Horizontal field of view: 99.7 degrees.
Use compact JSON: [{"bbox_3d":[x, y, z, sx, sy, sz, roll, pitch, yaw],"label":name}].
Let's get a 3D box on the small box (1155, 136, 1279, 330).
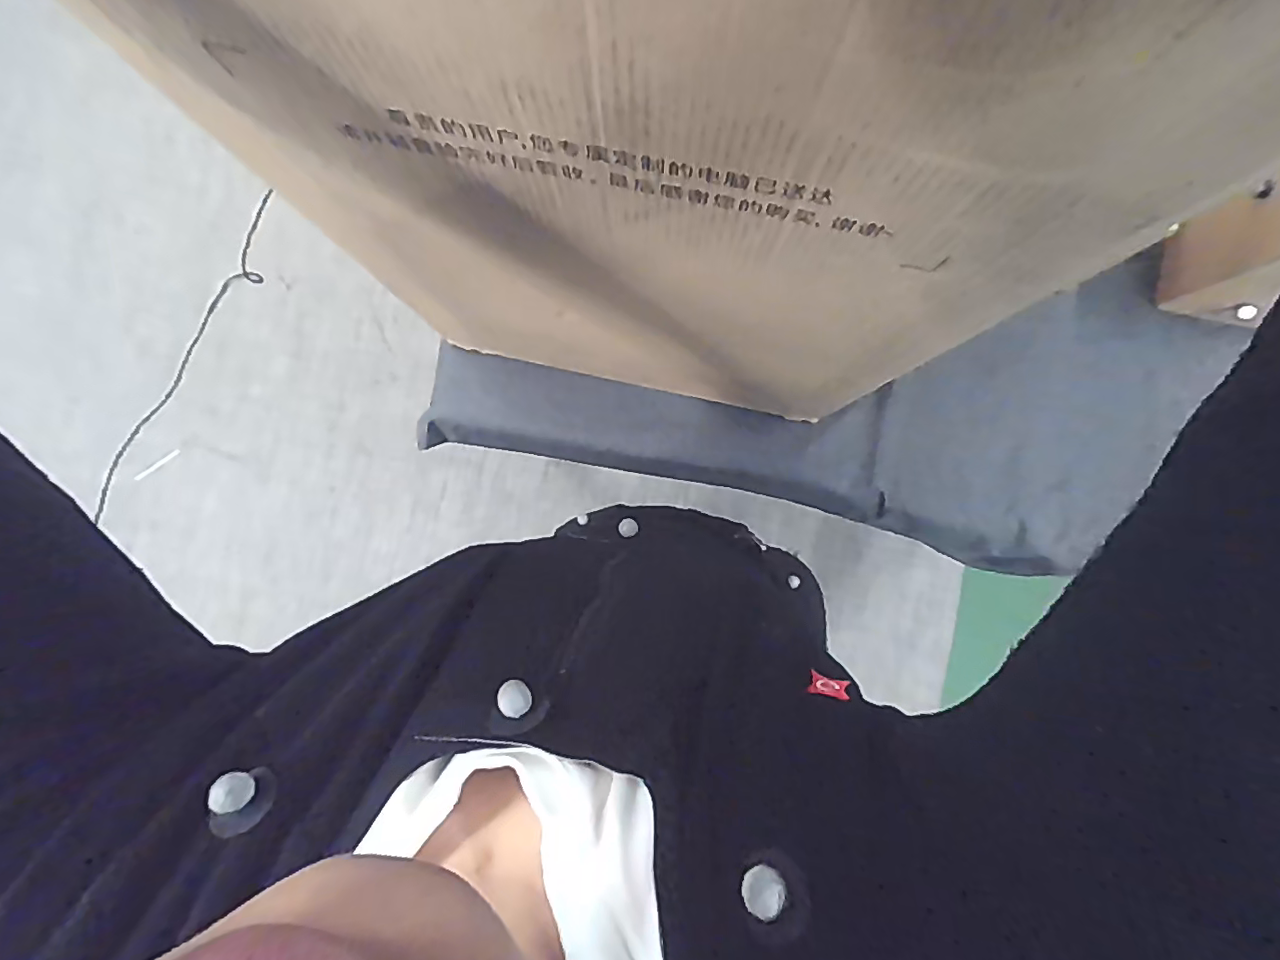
[{"bbox_3d":[0.816,-0.314,0.683,0.168,0.176,0.179,14,88,2],"label":"small box"}]
